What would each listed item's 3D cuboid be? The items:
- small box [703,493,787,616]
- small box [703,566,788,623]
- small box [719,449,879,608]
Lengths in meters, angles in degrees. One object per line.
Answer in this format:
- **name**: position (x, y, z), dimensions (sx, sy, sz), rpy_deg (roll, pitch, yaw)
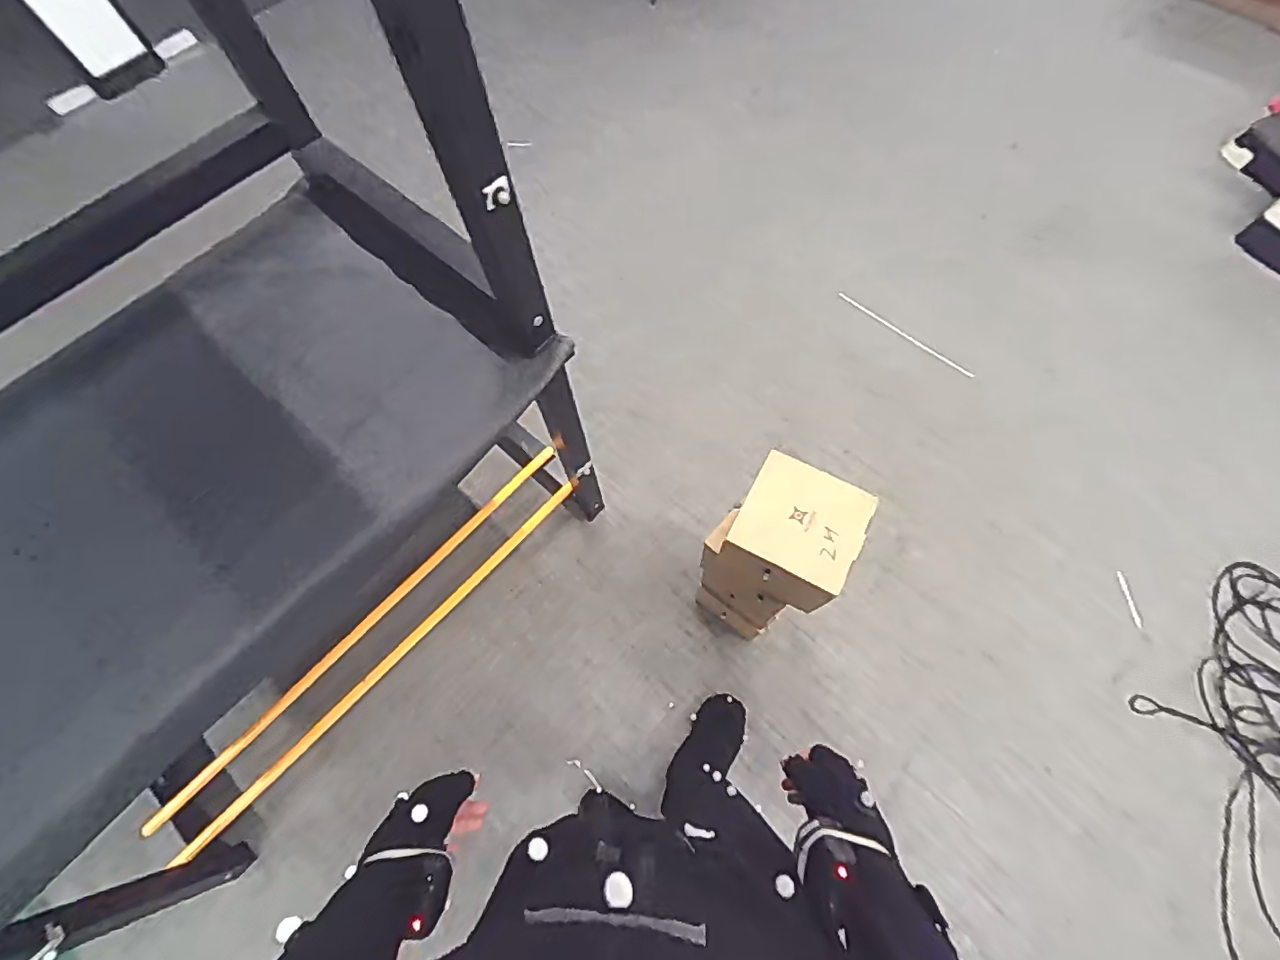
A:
- **small box**: position (0.232, 0.134, 1.010), dimensions (0.179, 0.176, 0.168), rpy_deg (40, 76, 17)
- **small box**: position (0.254, 0.189, 1.162), dimensions (0.179, 0.176, 0.168), rpy_deg (37, 74, 17)
- **small box**: position (0.237, 0.085, 0.853), dimensions (0.179, 0.176, 0.168), rpy_deg (27, 72, 12)
